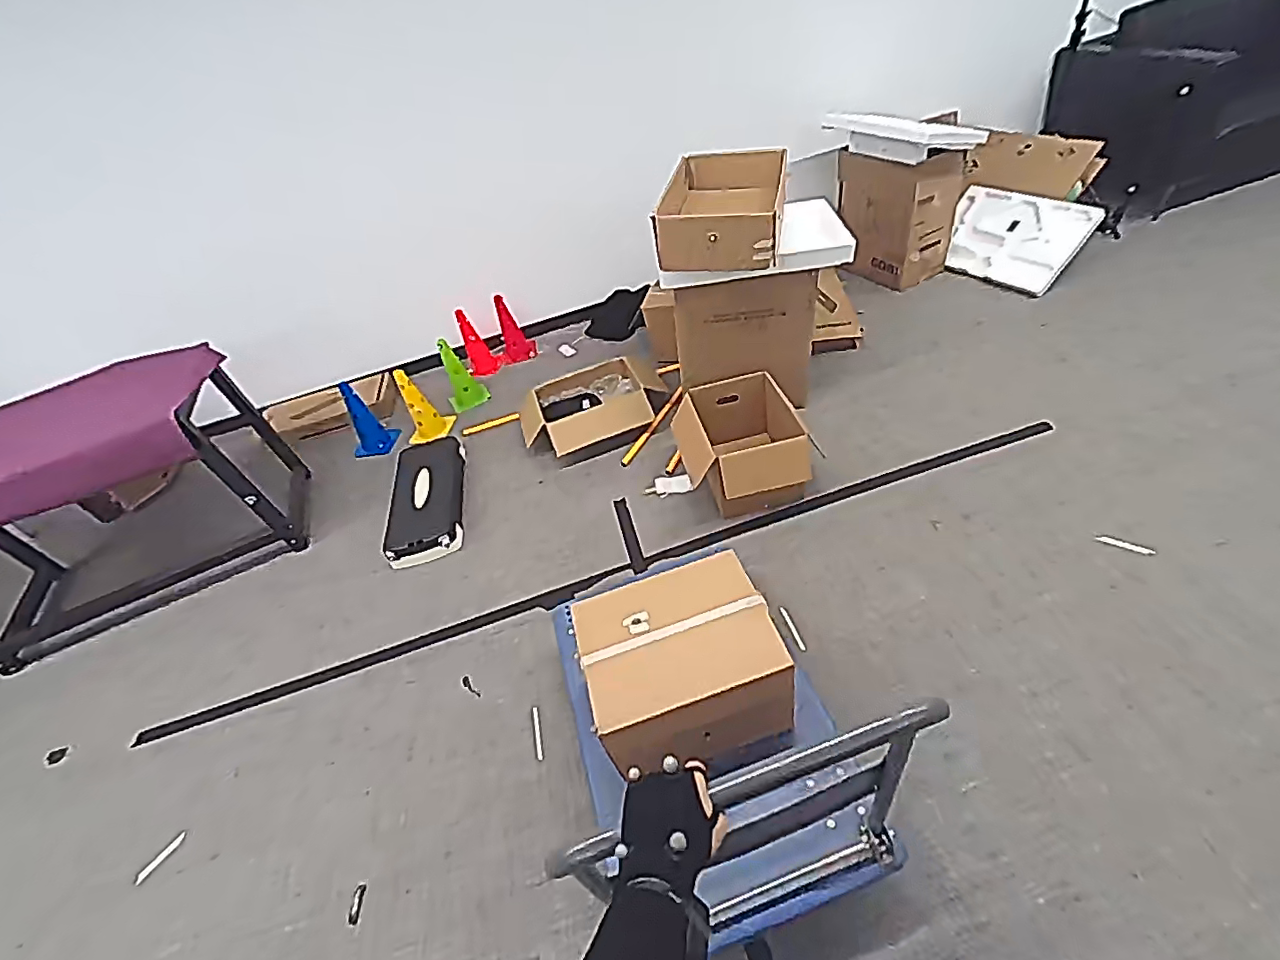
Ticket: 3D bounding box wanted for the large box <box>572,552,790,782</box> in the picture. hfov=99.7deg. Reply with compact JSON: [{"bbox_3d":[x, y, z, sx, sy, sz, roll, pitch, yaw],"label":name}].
[{"bbox_3d":[0.098,0.435,1.262,0.408,0.320,0.320,-19,42,-3],"label":"large box"}]
